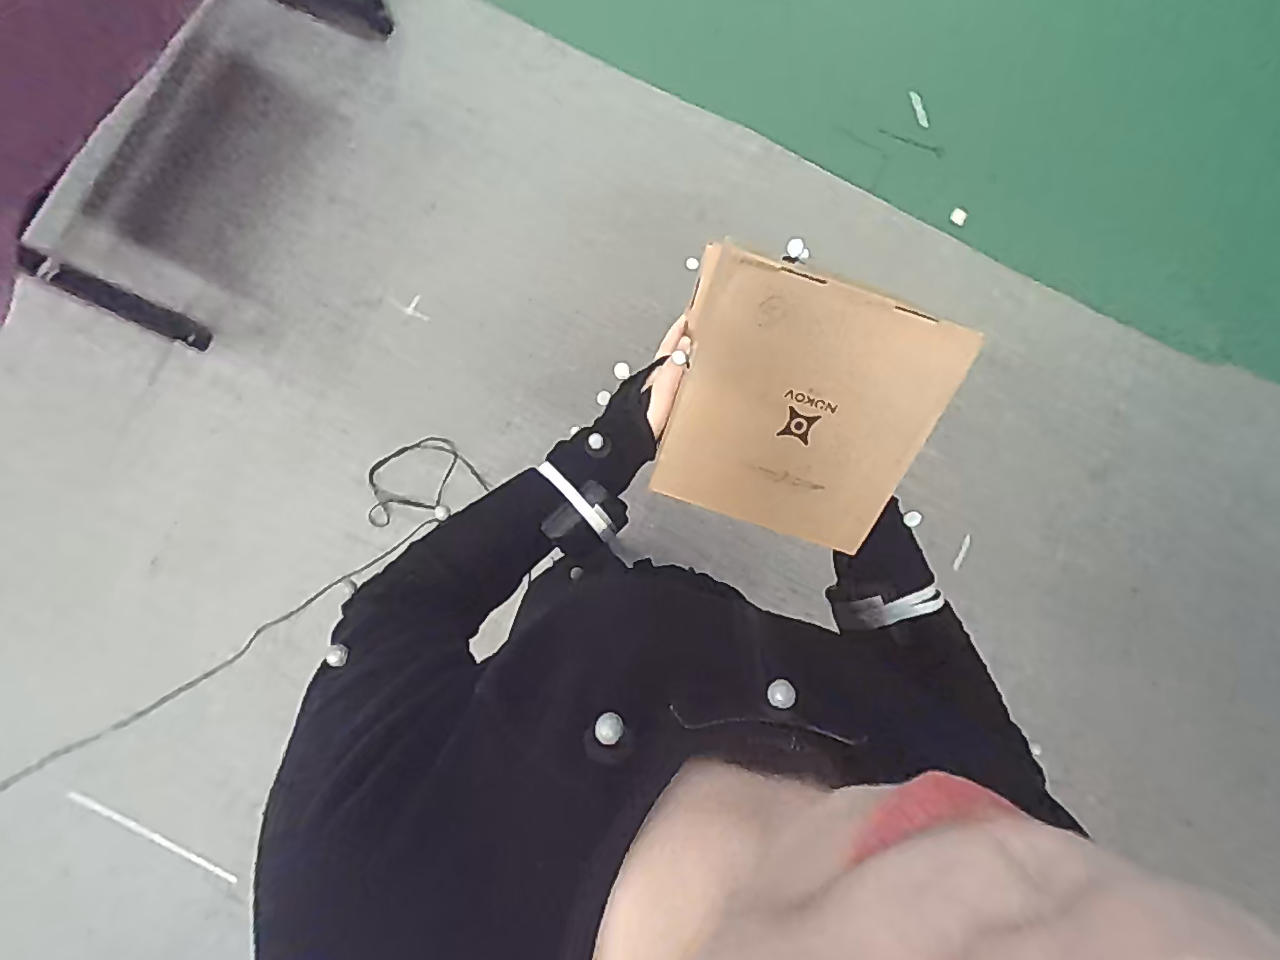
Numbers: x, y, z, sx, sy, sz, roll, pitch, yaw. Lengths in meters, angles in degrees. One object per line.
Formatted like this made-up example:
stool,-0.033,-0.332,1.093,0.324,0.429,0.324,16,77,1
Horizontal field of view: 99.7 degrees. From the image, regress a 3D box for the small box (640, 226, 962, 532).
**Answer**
small box,0.107,-0.092,0.438,0.168,0.176,0.179,17,118,-2
